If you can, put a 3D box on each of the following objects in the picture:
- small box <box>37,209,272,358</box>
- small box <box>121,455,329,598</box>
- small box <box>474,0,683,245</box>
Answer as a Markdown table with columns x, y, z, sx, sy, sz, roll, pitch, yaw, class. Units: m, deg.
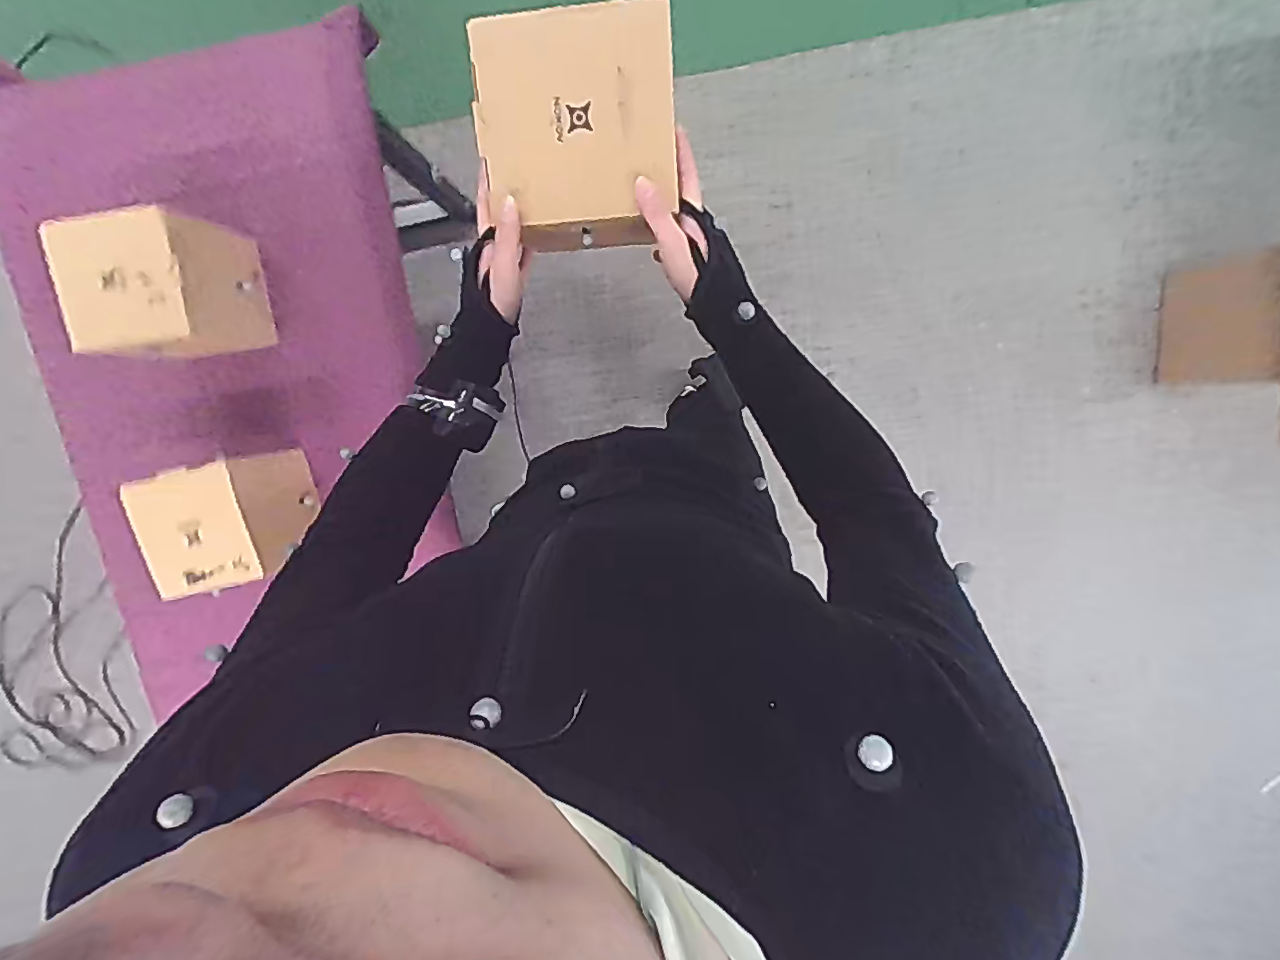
| x | y | z | sx | sy | sz | roll | pitch | yaw | class |
| --- | --- | --- | --- | --- | --- | --- | --- | --- | --- |
| -0.693 | -0.275 | 0.793 | 0.179 | 0.176 | 0.168 | -6 | 100 | 3 | small box |
| -0.632 | 0.061 | 0.846 | 0.168 | 0.176 | 0.179 | -13 | 98 | 5 | small box |
| -0.046 | -0.341 | 0.547 | 0.179 | 0.176 | 0.168 | -1 | 105 | 5 | small box |
